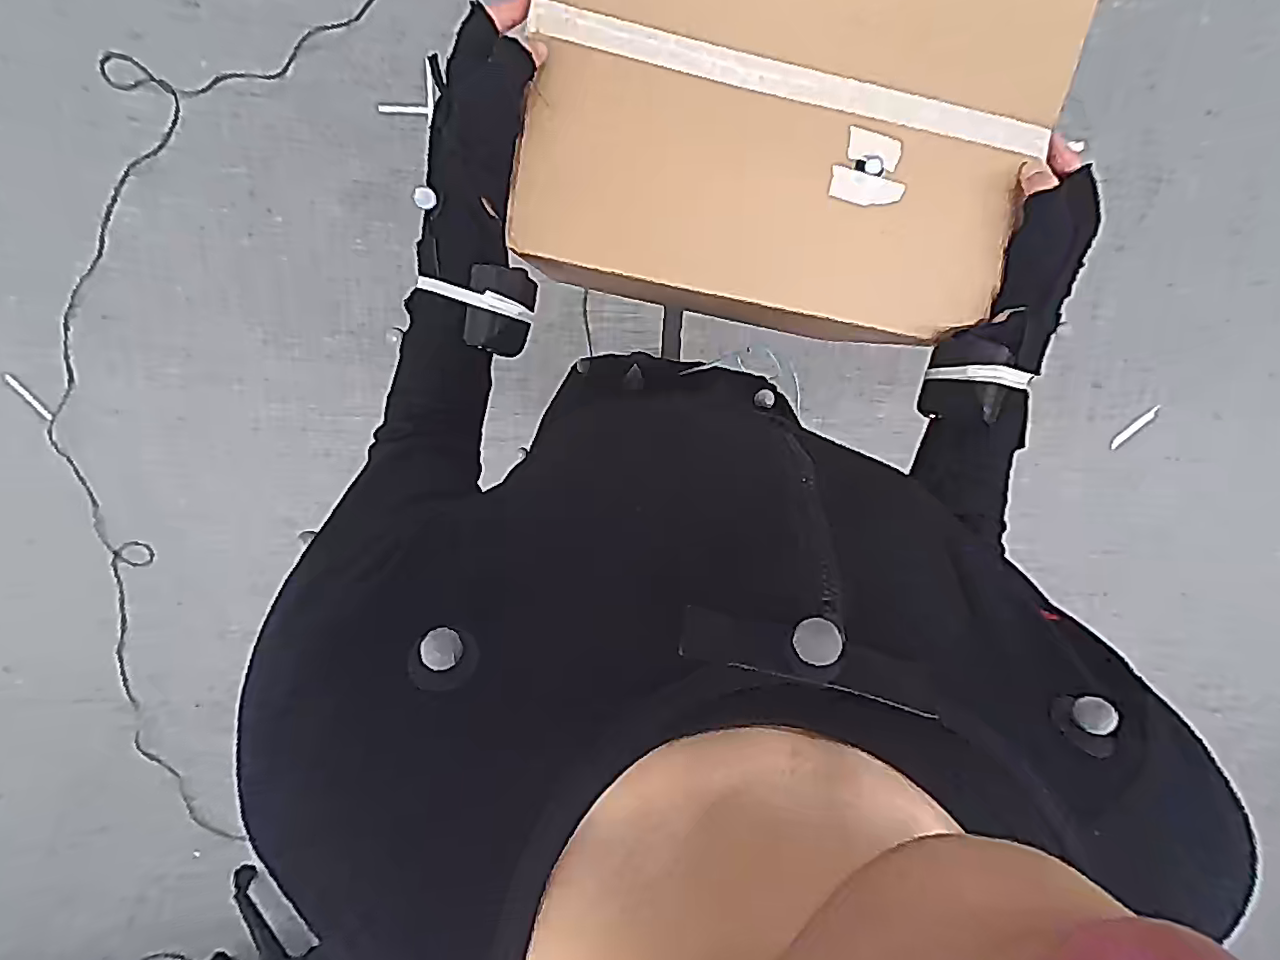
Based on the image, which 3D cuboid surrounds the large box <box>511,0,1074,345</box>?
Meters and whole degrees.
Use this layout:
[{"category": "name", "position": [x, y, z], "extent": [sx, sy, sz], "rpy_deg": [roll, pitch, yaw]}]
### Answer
[{"category": "large box", "position": [0.104, -0.333, 0.559], "extent": [0.408, 0.320, 0.320], "rpy_deg": [10, 106, -7]}]
